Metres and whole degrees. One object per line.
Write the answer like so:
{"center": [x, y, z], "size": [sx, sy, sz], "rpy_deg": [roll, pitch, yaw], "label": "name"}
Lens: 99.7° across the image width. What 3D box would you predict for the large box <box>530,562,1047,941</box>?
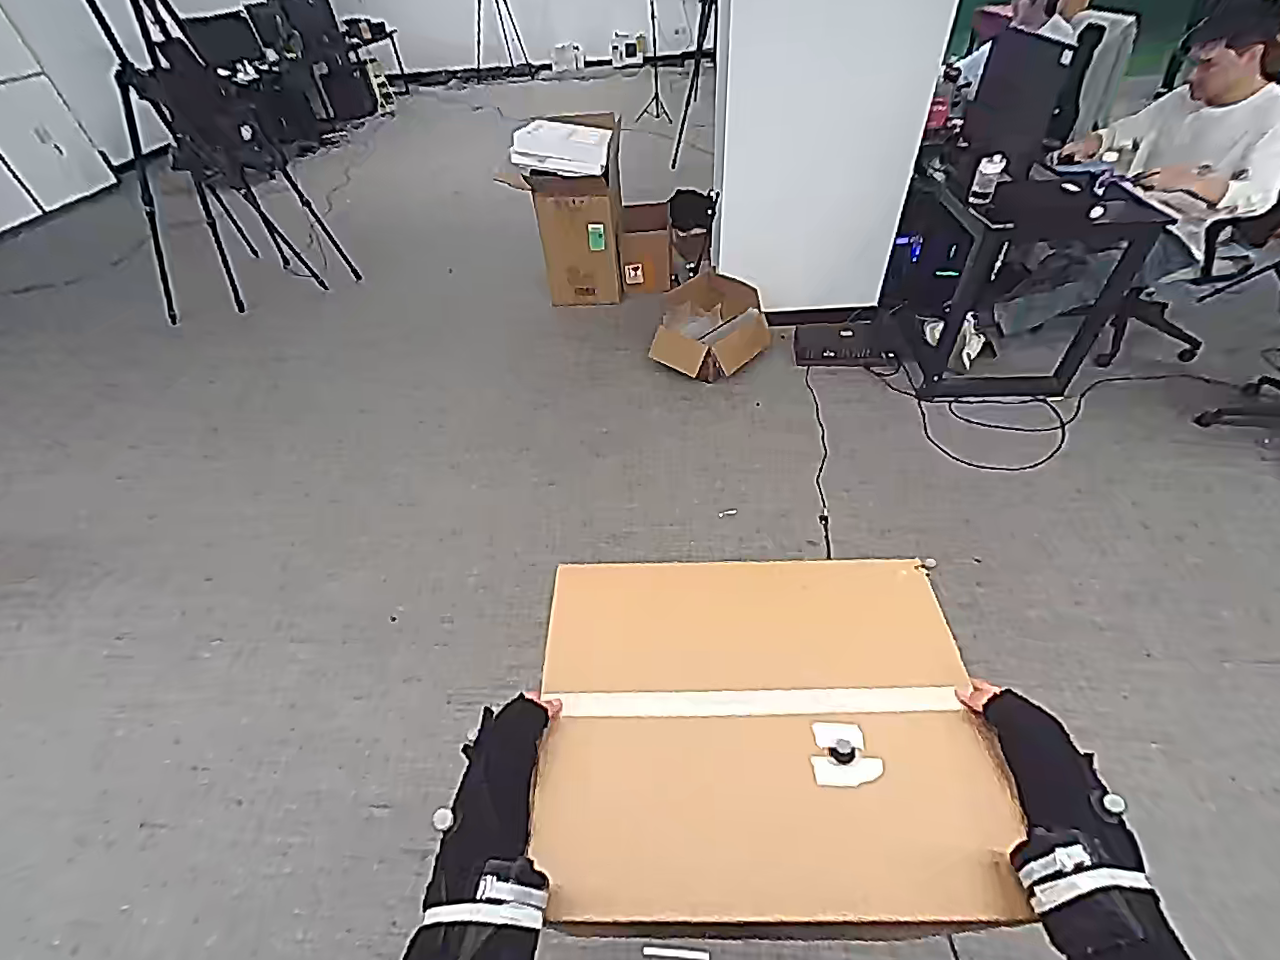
{"center": [0.113, 0.312, 0.618], "size": [0.408, 0.320, 0.320], "rpy_deg": [-1, 48, 1], "label": "large box"}
